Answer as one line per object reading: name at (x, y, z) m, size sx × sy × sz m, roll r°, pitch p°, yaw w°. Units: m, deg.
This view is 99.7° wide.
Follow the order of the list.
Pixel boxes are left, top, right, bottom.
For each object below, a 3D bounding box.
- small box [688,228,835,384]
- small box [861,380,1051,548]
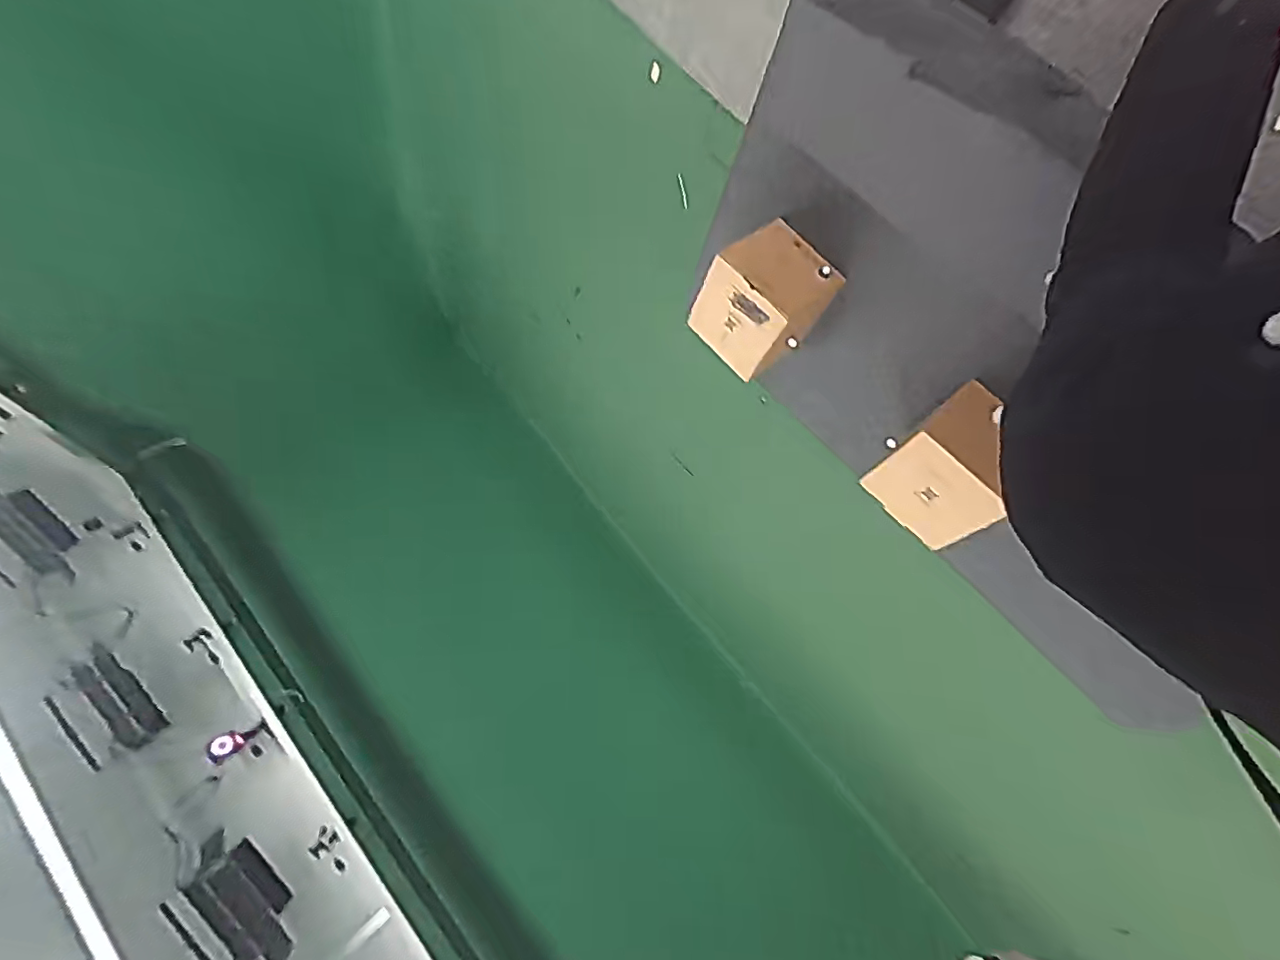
small box at (0.220, -0.315, 0.975) m, size 0.168 × 0.176 × 0.179 m, roll 47°, pitch 155°, yaw 10°
small box at (0.507, -0.025, 0.876) m, size 0.168 × 0.176 × 0.179 m, roll 45°, pitch 153°, yaw 13°
